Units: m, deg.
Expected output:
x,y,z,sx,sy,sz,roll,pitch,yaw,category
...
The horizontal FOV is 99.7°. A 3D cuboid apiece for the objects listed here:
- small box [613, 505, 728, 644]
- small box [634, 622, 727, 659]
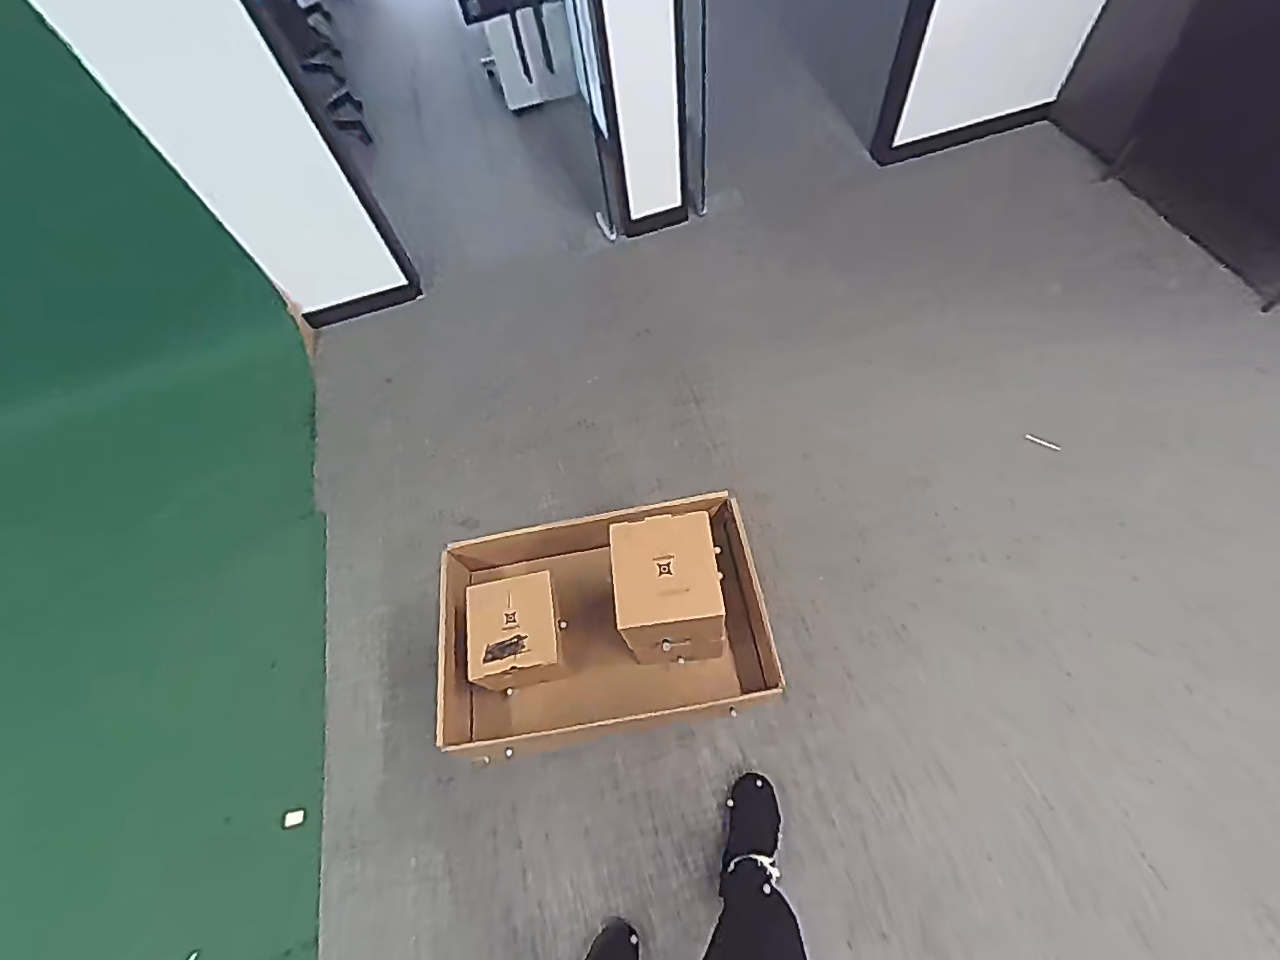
x,y,z,sx,sy,sz,roll,pitch,yaw,category
0.050,0.162,0.908,0.168,0.176,0.179,-8,62,3,small box
0.071,0.237,1.051,0.168,0.176,0.179,-7,62,3,small box
